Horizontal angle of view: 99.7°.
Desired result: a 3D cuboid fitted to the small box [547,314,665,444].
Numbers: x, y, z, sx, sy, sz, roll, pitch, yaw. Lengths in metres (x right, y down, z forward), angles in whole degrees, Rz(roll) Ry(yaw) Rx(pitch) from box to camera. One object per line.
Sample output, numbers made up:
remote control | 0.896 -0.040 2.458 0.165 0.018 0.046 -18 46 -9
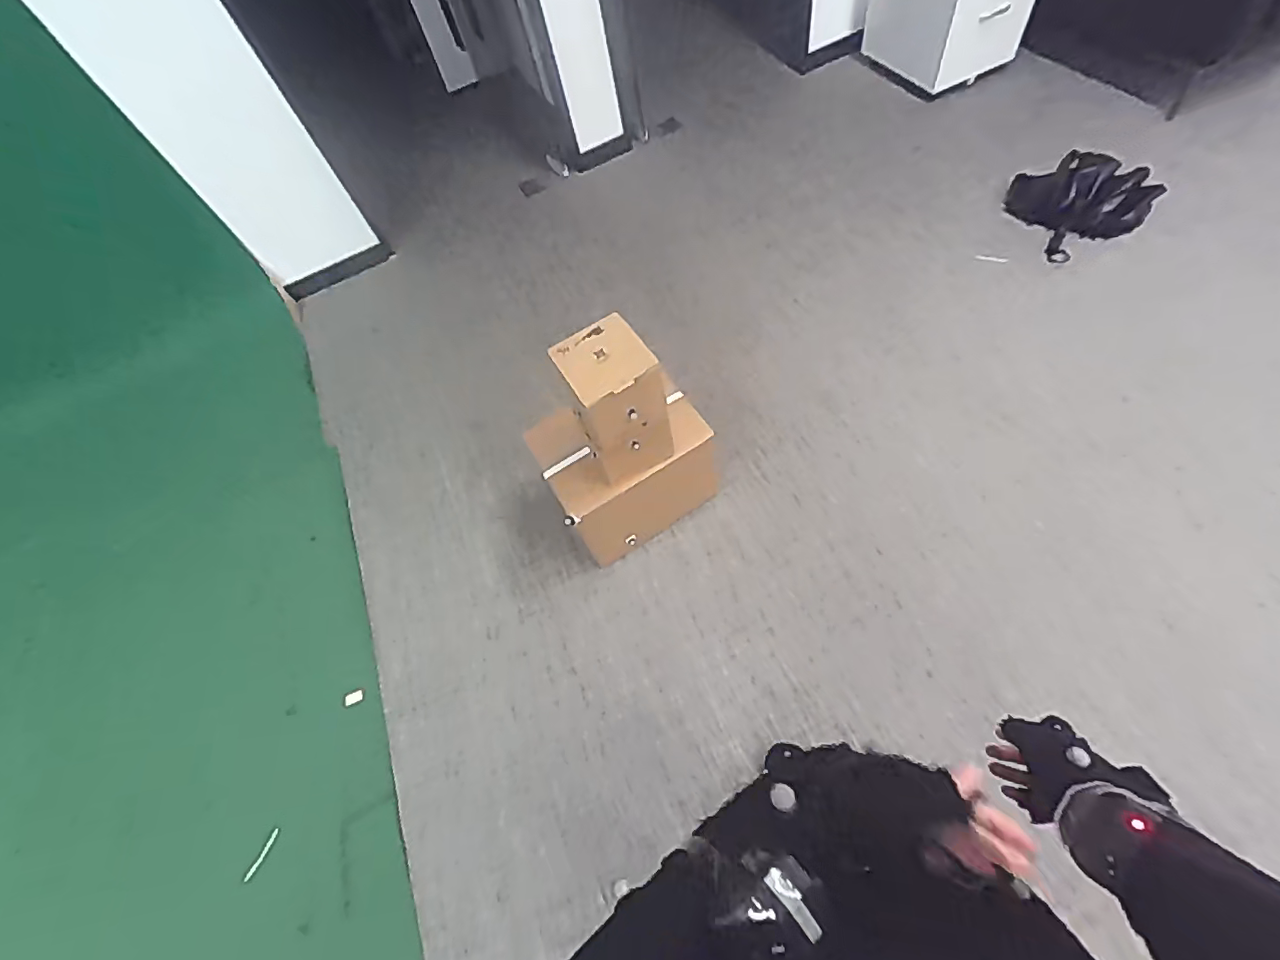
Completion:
small box | -0.062 -0.196 1.108 0.168 0.176 0.179 -30 62 -7

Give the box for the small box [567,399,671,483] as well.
small box | -0.042 -0.121 1.252 0.179 0.176 0.168 -28 61 -7
